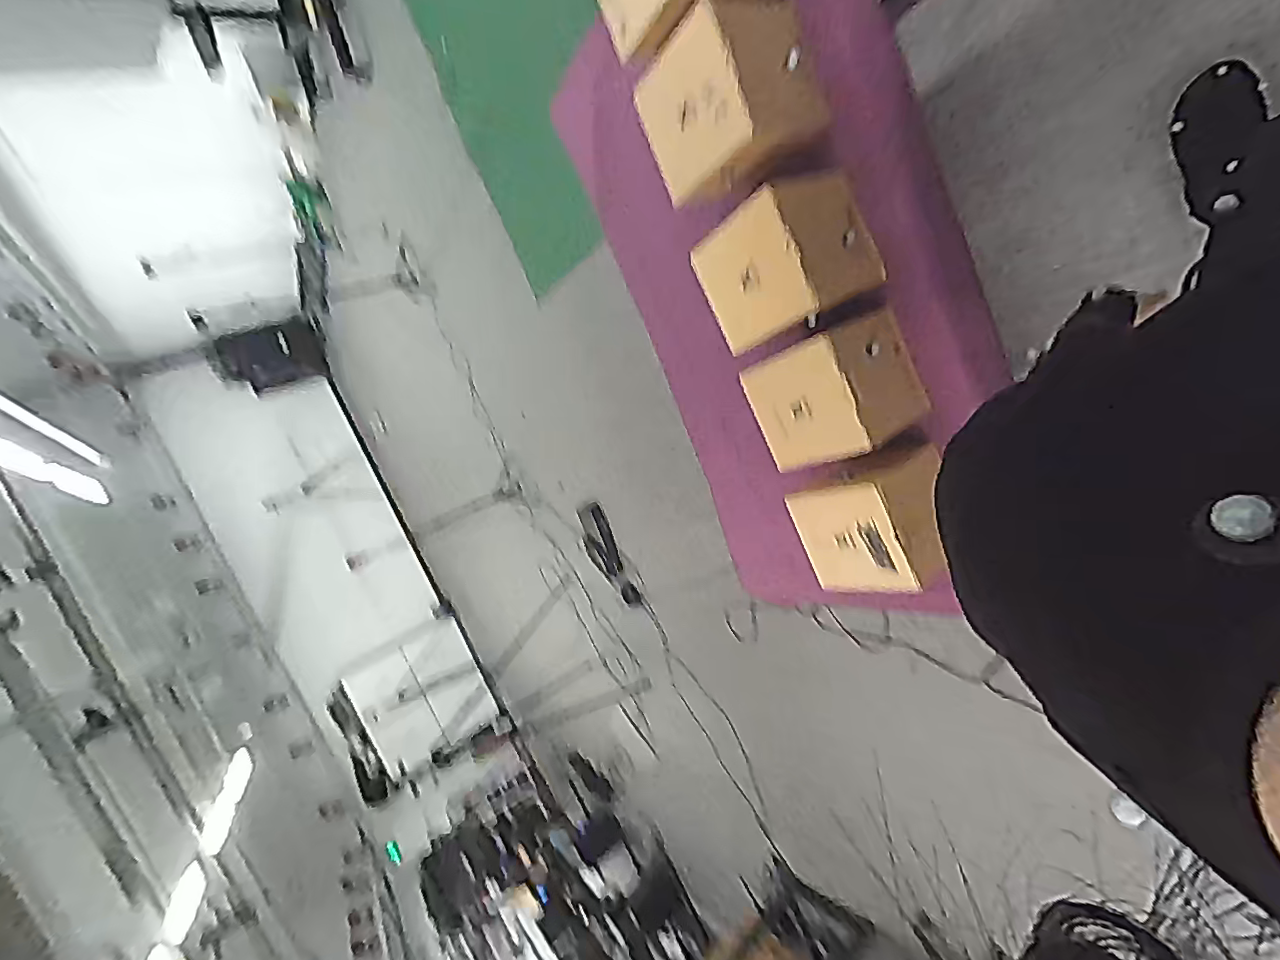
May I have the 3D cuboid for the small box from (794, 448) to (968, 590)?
[{"bbox_3d":[0.389,0.061,0.865,0.179,0.176,0.168,-17,99,59],"label":"small box"}]
